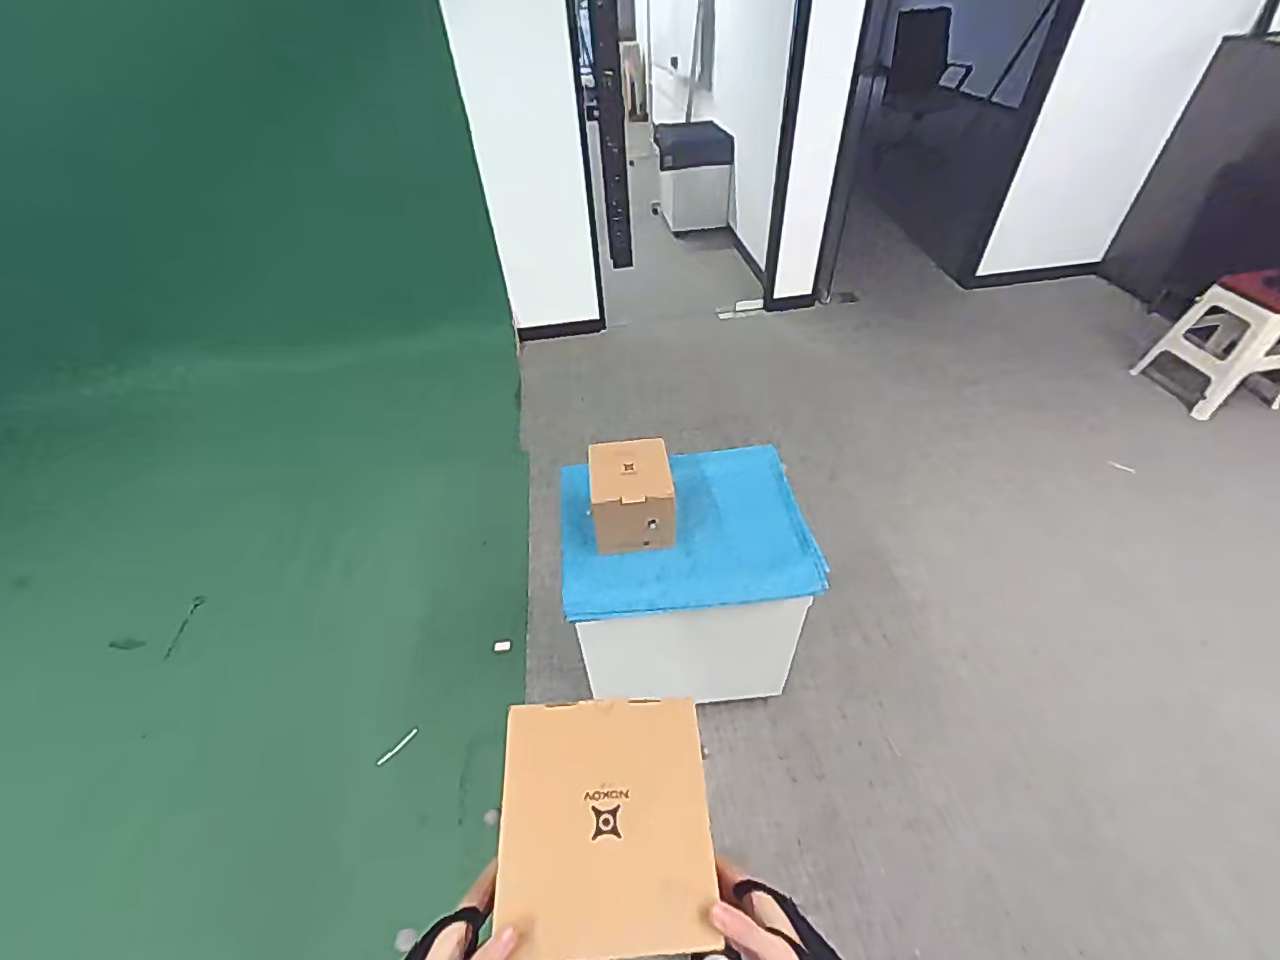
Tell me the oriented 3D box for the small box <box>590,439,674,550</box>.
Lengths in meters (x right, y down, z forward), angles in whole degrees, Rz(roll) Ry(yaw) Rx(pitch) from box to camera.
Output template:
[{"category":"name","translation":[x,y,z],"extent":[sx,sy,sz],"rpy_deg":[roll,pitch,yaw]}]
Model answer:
[{"category":"small box","translation":[-0.017,0.036,1.149],"extent":[0.168,0.176,0.179],"rpy_deg":[-4,43,-3]}]

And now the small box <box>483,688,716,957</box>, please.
[{"category":"small box","translation":[-0.036,0.304,0.486],"extent":[0.168,0.176,0.179],"rpy_deg":[1,50,-6]}]
